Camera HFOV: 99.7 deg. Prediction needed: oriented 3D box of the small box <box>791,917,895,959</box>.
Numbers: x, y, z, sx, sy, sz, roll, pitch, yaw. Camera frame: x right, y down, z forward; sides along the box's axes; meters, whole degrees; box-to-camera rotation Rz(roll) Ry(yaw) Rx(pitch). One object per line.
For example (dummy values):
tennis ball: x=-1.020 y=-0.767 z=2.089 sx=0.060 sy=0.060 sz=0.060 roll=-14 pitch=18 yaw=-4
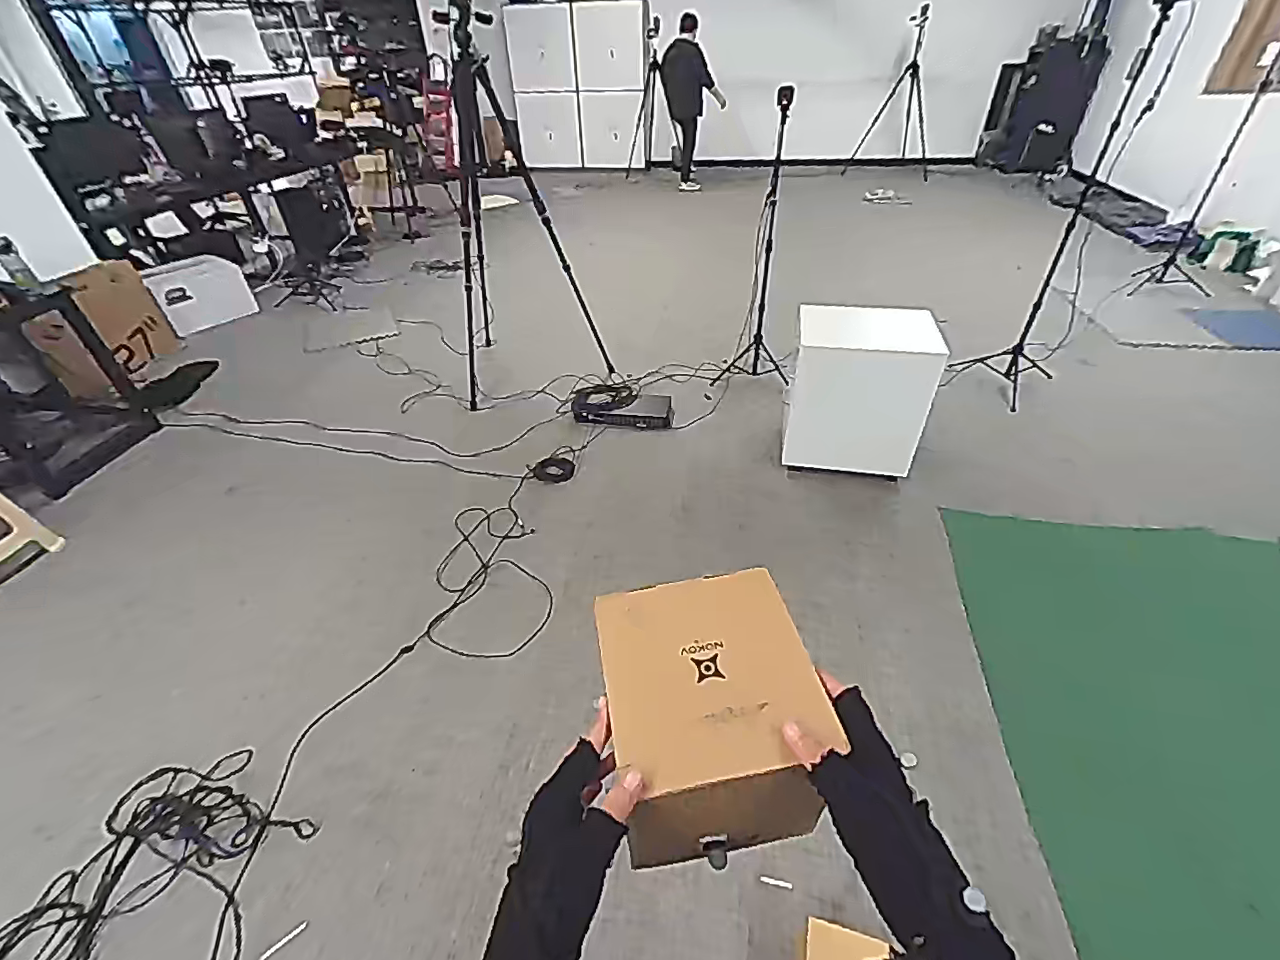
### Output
small box: x=0.379 y=0.982 z=1.026 sx=0.168 sy=0.176 sz=0.179 roll=10 pitch=41 yaw=14
